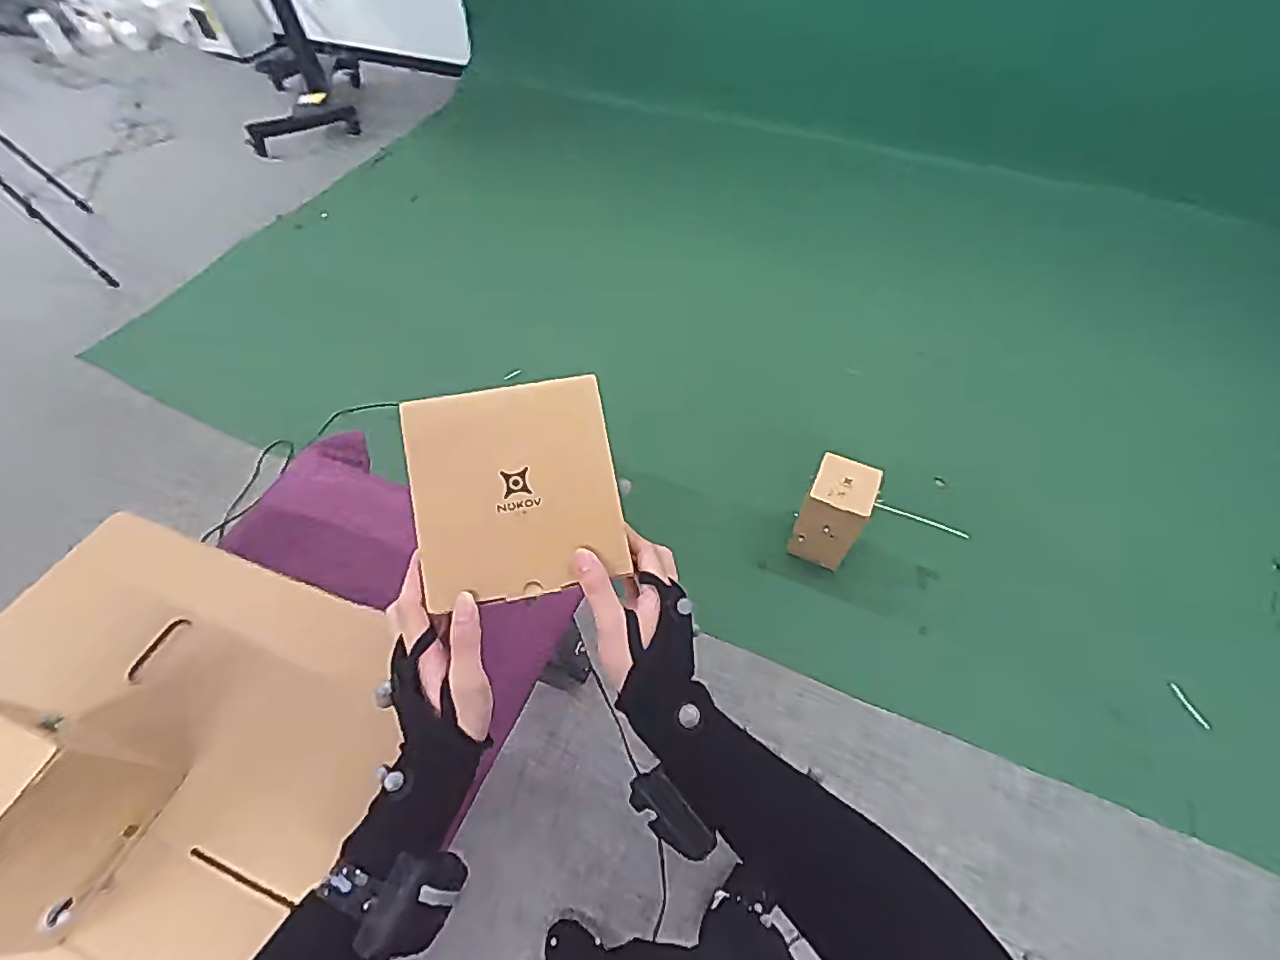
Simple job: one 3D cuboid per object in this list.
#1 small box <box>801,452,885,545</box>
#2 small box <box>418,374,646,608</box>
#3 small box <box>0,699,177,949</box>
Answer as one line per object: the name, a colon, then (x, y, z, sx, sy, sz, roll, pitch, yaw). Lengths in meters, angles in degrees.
small box: (0.580, 0.057, 1.564, 0.168, 0.176, 0.179, 22, 59, 16)
small box: (-0.099, 0.017, 0.520, 0.168, 0.176, 0.179, -10, 82, -8)
small box: (-0.620, 0.323, 0.521, 0.179, 0.176, 0.168, 16, 56, 12)
